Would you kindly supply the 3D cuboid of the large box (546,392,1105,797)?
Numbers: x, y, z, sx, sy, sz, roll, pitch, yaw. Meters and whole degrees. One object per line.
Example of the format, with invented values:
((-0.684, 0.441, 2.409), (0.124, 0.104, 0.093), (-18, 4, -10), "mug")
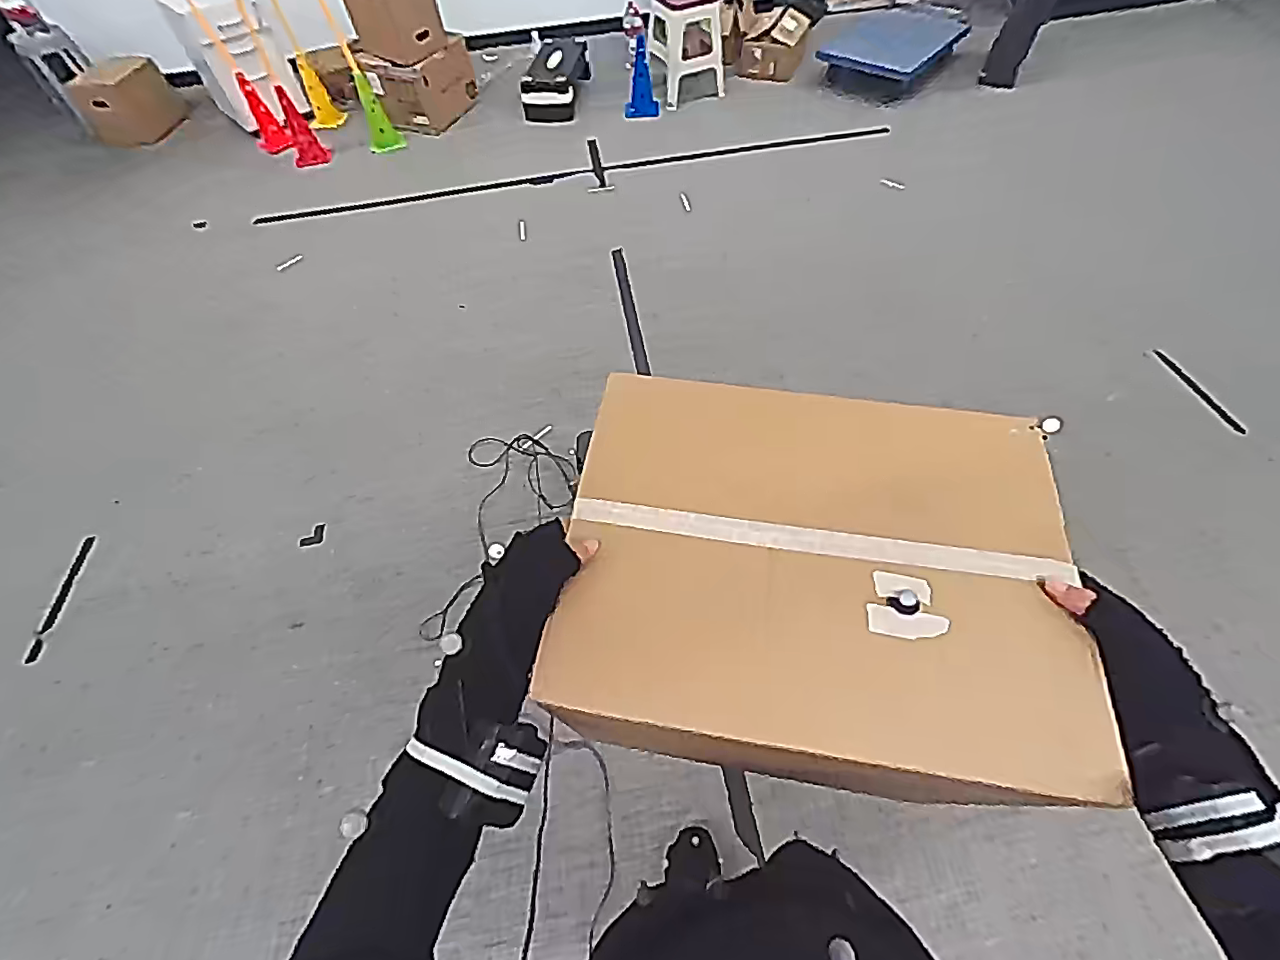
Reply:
((0.147, 0.135, 0.589), (0.408, 0.320, 0.320), (7, 60, 6), "large box")
